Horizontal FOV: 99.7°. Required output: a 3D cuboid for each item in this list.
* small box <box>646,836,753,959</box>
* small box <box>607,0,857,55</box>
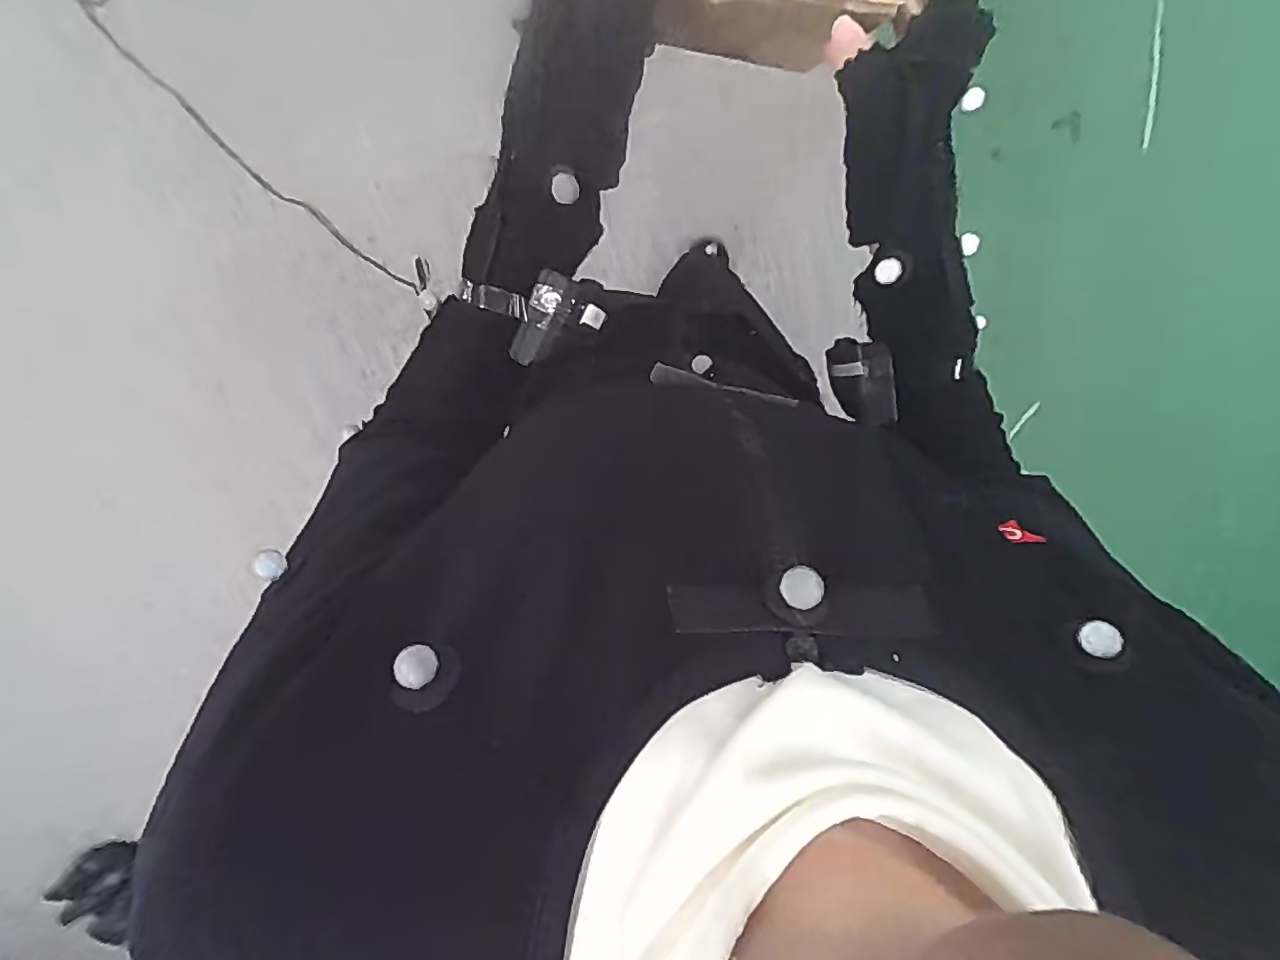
[{"bbox_3d":[0.107,0.838,1.056,0.168,0.176,0.179,3,104,-8],"label":"small box"},{"bbox_3d":[0.065,-0.386,0.321,0.168,0.176,0.179,6,116,-6],"label":"small box"}]
